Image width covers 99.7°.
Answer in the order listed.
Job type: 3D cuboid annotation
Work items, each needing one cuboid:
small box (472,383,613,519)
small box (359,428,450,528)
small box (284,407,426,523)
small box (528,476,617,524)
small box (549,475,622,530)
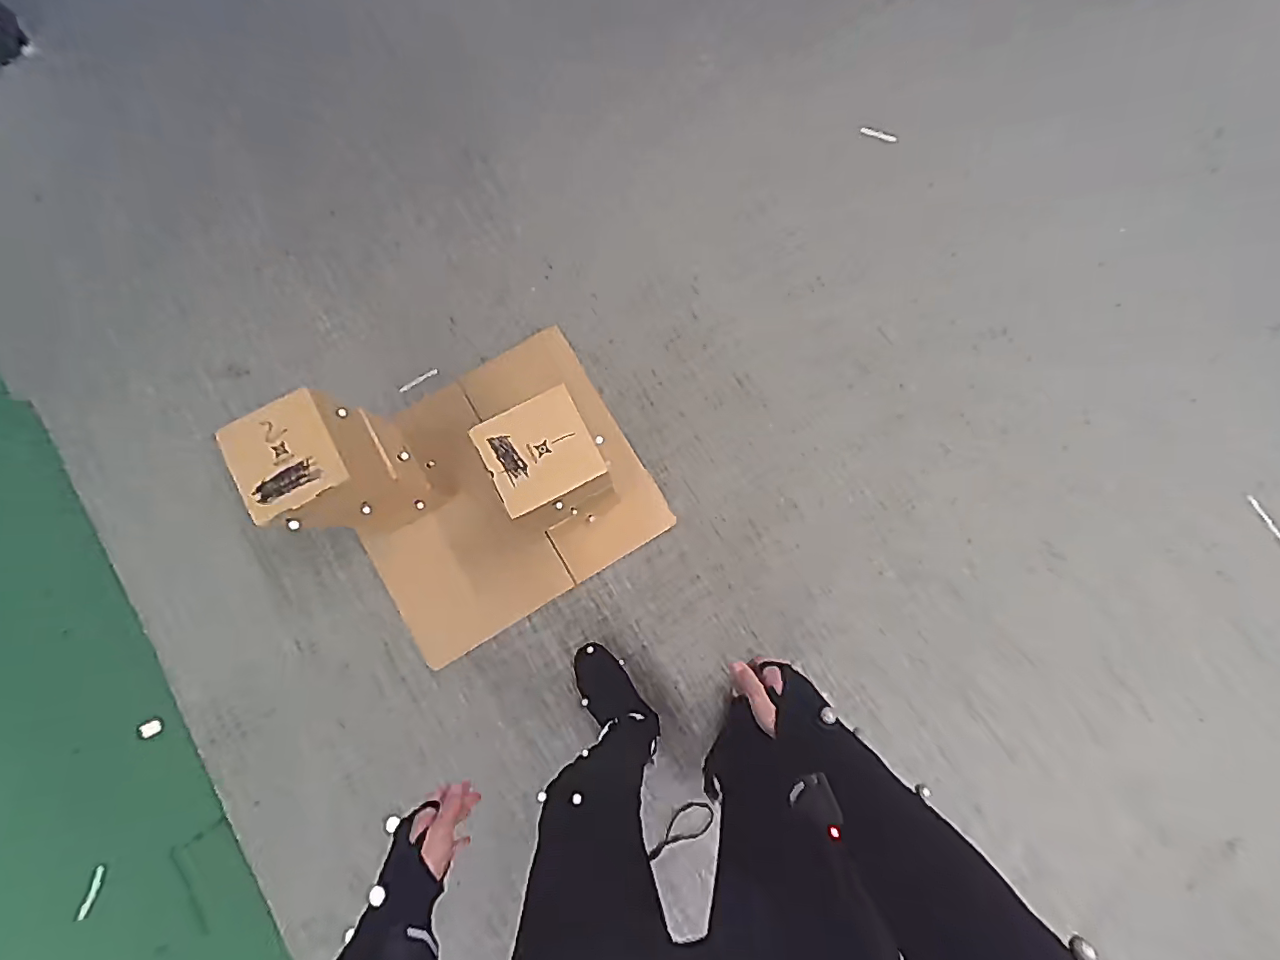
[{"bbox_3d":[-0.158,-0.040,0.939,0.179,0.176,0.168,-27,85,-3],"label":"small box"},{"bbox_3d":[-0.569,-0.001,1.263,0.179,0.176,0.168,-30,83,-3],"label":"small box"},{"bbox_3d":[-0.565,-0.023,1.104,0.179,0.176,0.168,-30,84,-3],"label":"small box"},{"bbox_3d":[-0.159,-0.017,1.102,0.179,0.176,0.168,-26,84,-3],"label":"small box"},{"bbox_3d":[-0.155,0.006,1.264,0.179,0.176,0.168,-28,83,-3],"label":"small box"}]
